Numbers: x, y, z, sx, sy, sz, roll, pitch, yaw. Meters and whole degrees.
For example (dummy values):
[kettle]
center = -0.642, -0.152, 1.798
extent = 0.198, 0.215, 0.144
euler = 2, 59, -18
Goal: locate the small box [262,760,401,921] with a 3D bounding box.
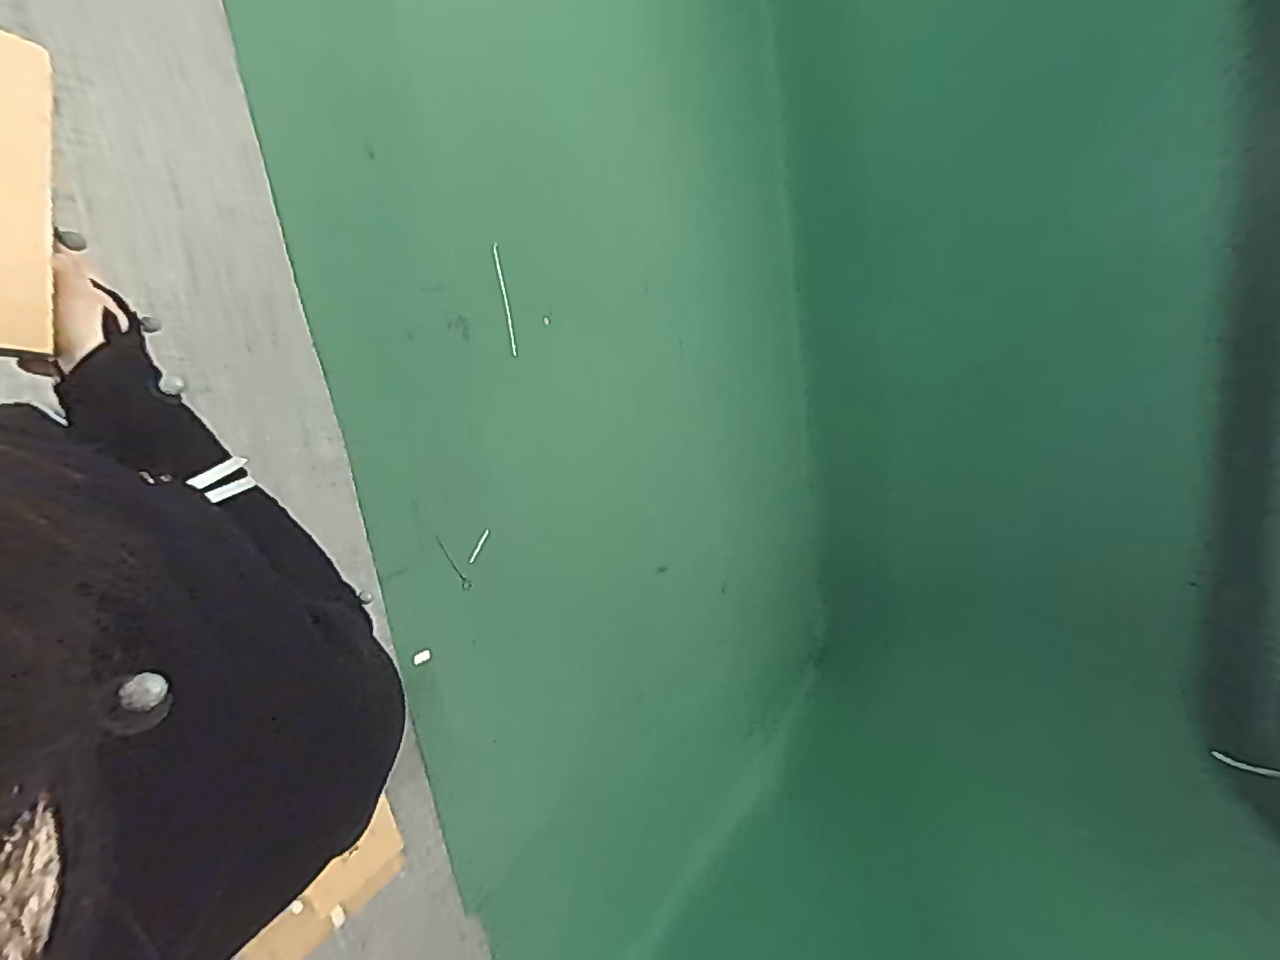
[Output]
[small box]
center = -0.620, 0.705, 1.079
extent = 0.179, 0.176, 0.168
euler = -28, 113, -50
